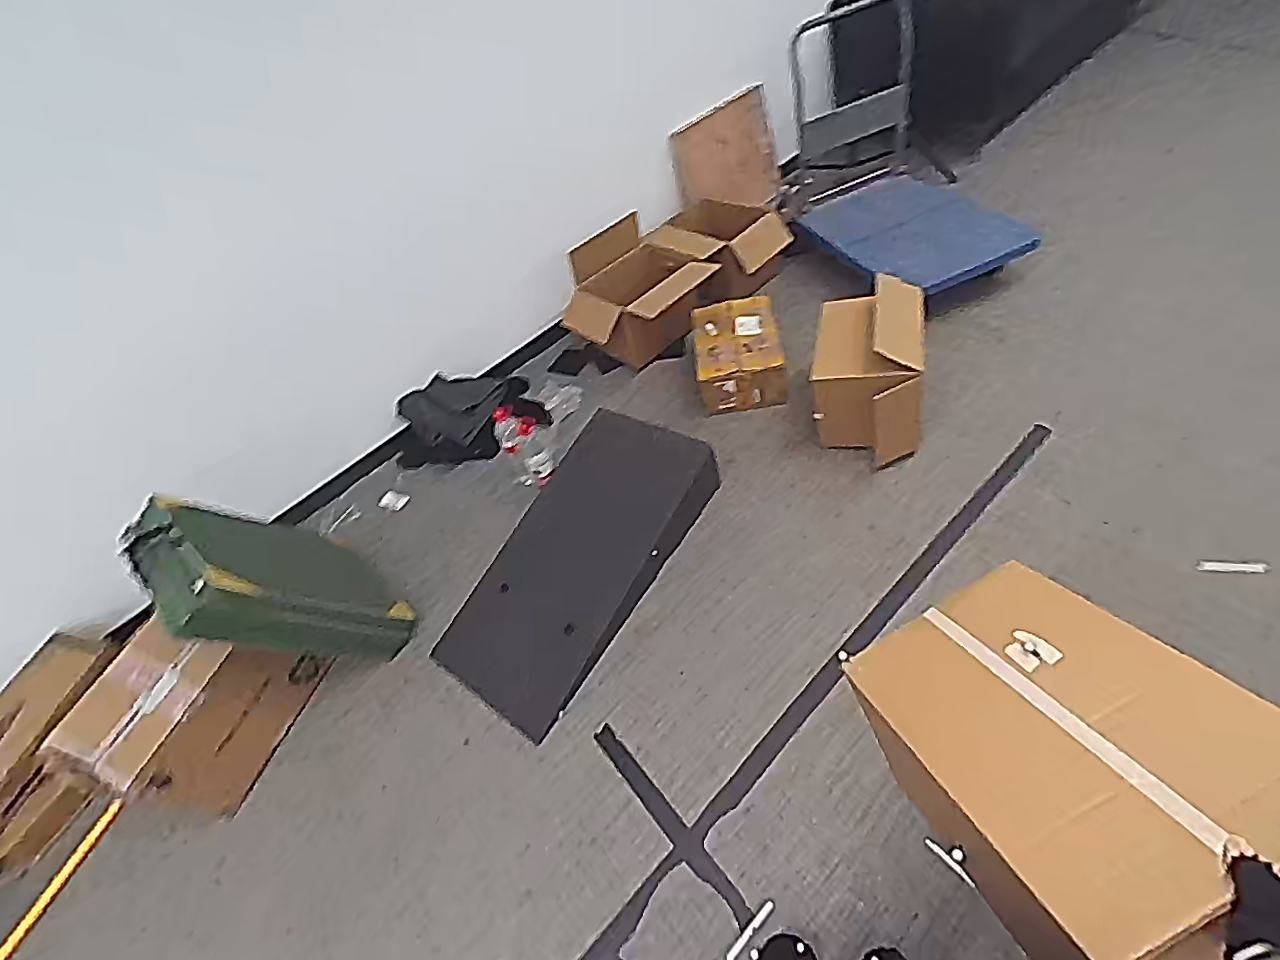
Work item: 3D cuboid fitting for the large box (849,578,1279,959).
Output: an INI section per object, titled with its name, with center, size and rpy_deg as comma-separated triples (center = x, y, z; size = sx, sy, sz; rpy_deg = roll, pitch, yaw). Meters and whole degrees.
[large box]
center = 0.560, 0.408, 0.705
size = 0.320, 0.320, 0.408
rpy_deg = -29, 23, -2
